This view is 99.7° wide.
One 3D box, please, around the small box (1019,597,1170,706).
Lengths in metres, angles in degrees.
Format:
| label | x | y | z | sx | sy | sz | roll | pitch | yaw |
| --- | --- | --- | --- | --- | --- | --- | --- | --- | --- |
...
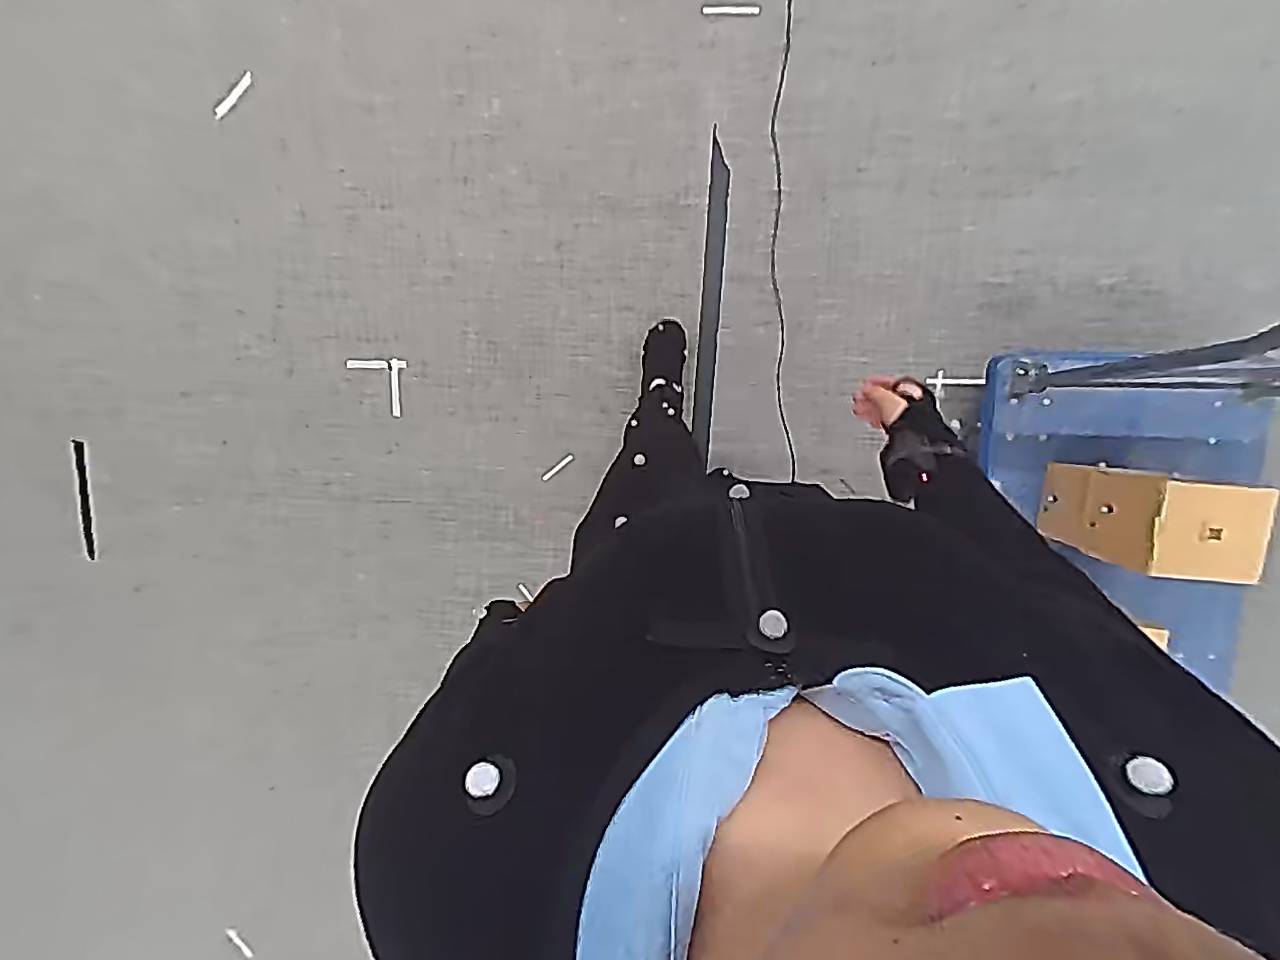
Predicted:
| label | x | y | z | sx | sy | sz | roll | pitch | yaw |
| --- | --- | --- | --- | --- | --- | --- | --- | --- | --- |
| small box | 0.983 | 0.366 | 1.184 | 0.179 | 0.176 | 0.168 | 6 | 97 | 4 |

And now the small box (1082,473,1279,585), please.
| label | x | y | z | sx | sy | sz | roll | pitch | yaw |
| --- | --- | --- | --- | --- | --- | --- | --- | --- | --- |
| small box | 0.969 | 0.081 | 0.986 | 0.179 | 0.176 | 0.168 | 4 | 97 | 5 |
